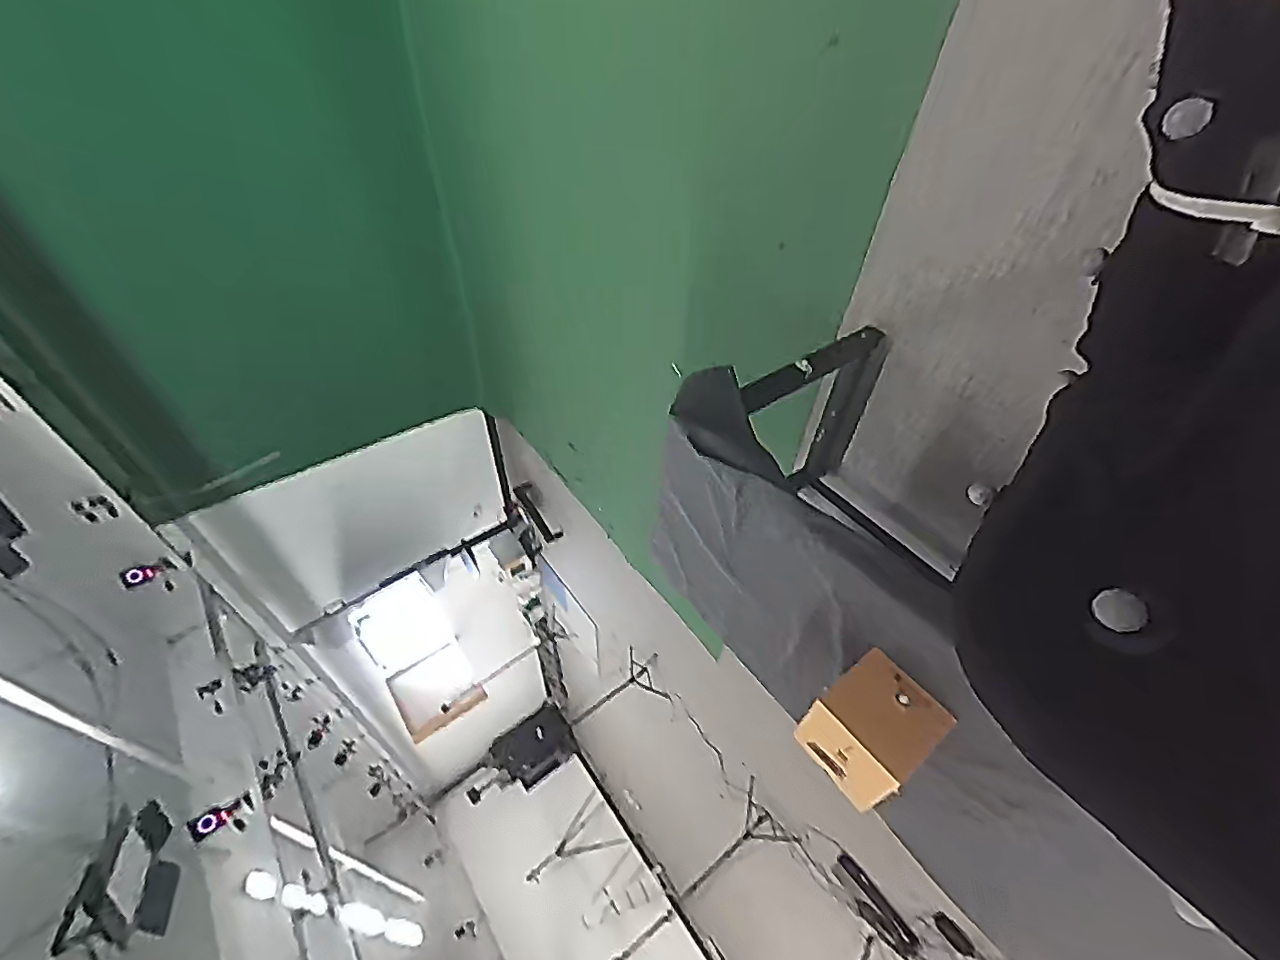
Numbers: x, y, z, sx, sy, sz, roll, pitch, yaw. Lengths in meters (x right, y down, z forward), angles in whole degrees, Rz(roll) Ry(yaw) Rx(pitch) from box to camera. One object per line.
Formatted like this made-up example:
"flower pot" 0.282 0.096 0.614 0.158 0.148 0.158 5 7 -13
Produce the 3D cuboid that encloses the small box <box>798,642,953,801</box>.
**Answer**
"small box" 0.418 0.429 0.970 0.168 0.176 0.179 44 148 32
